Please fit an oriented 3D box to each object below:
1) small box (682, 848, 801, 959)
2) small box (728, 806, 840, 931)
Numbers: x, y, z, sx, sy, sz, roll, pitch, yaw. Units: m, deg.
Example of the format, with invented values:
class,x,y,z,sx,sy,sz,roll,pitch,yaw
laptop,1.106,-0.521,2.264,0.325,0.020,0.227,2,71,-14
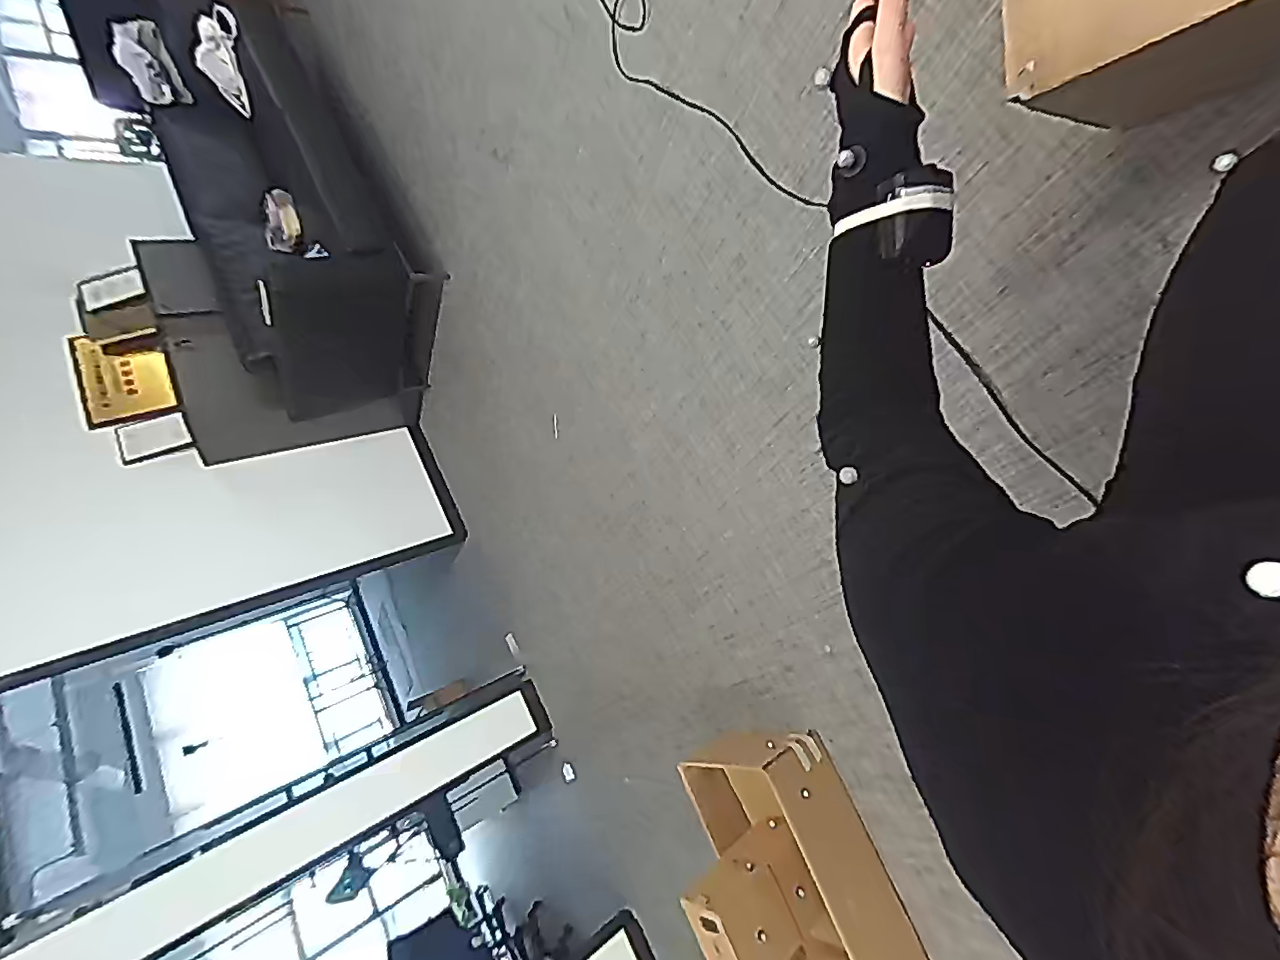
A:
class,x,y,z,sx,sy,sz,roll,pitch,yaw
small box,0.235,1.001,1.258,0.168,0.176,0.179,-39,75,54
small box,0.362,0.959,1.352,0.168,0.176,0.179,-41,72,53
